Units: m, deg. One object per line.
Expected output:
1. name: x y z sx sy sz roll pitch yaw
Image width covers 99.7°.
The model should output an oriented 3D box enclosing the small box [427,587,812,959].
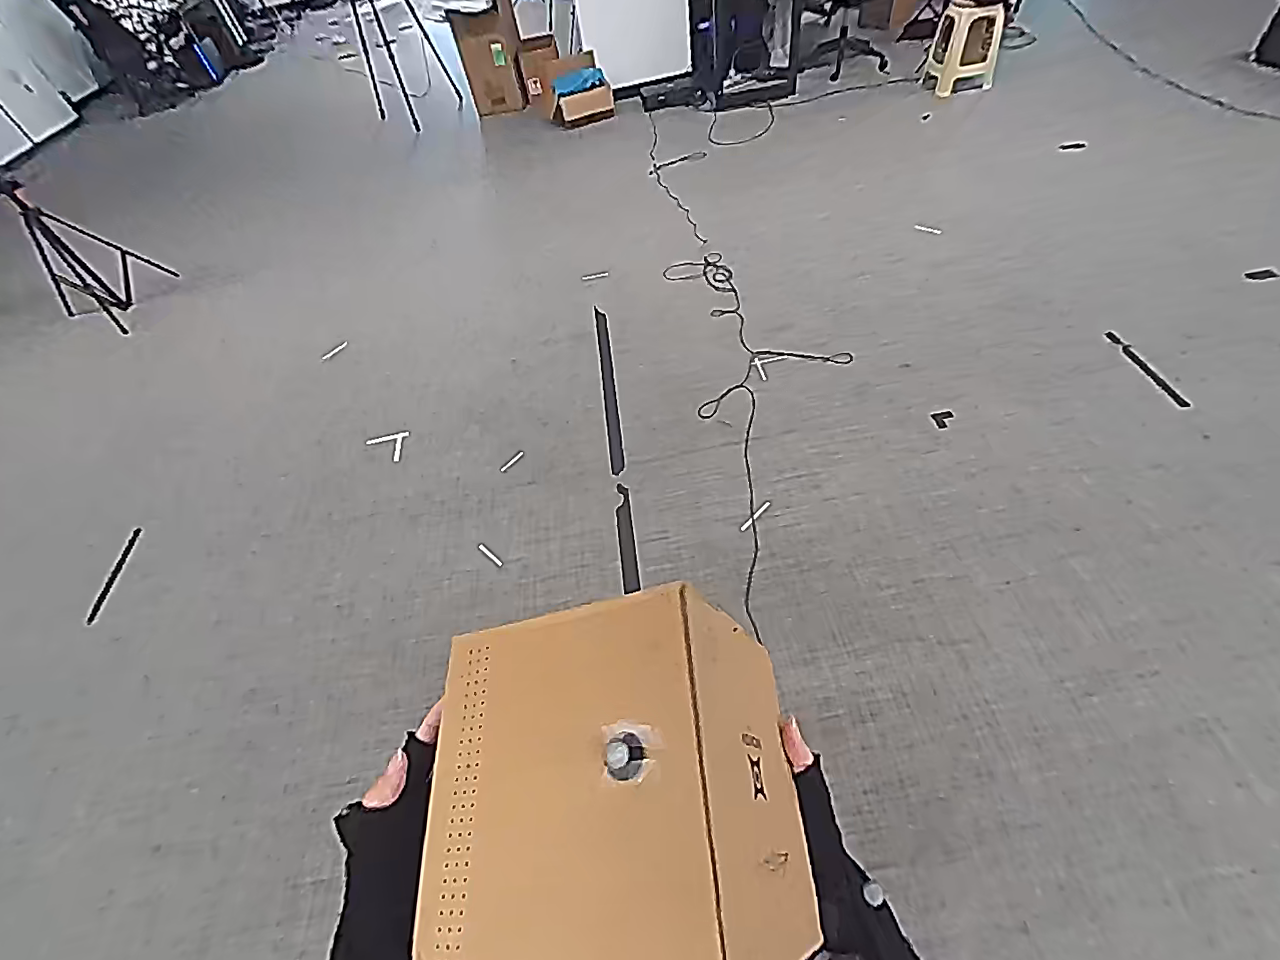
1. small box: -0.008 0.193 0.346 0.176 0.168 0.179 -18 53 20
